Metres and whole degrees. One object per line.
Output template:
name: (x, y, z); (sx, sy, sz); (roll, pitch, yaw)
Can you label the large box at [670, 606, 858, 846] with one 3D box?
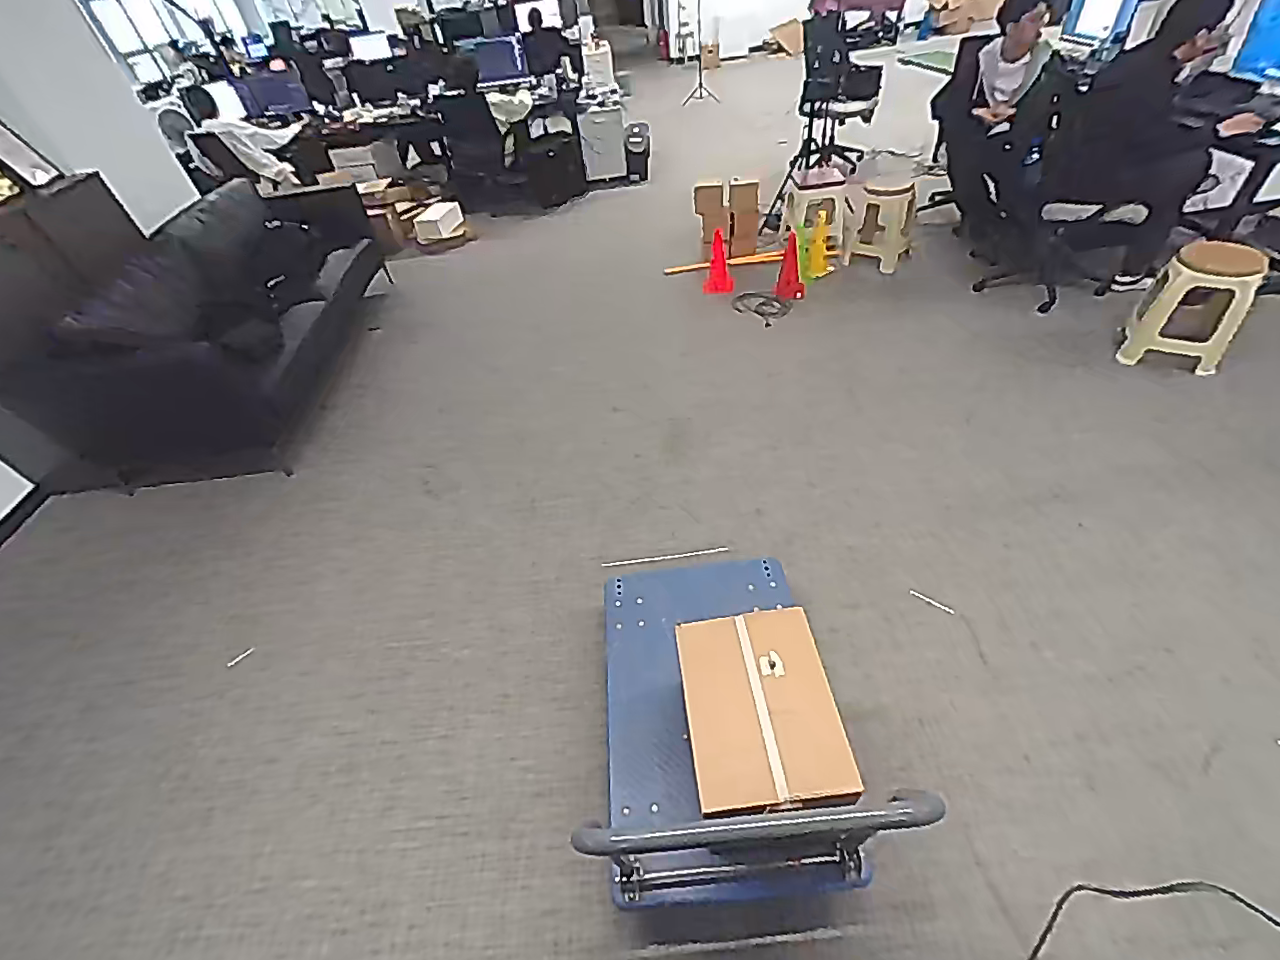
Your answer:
large box: (0.262, 0.568, 1.261); (0.320, 0.320, 0.408); (-8, 45, 1)
